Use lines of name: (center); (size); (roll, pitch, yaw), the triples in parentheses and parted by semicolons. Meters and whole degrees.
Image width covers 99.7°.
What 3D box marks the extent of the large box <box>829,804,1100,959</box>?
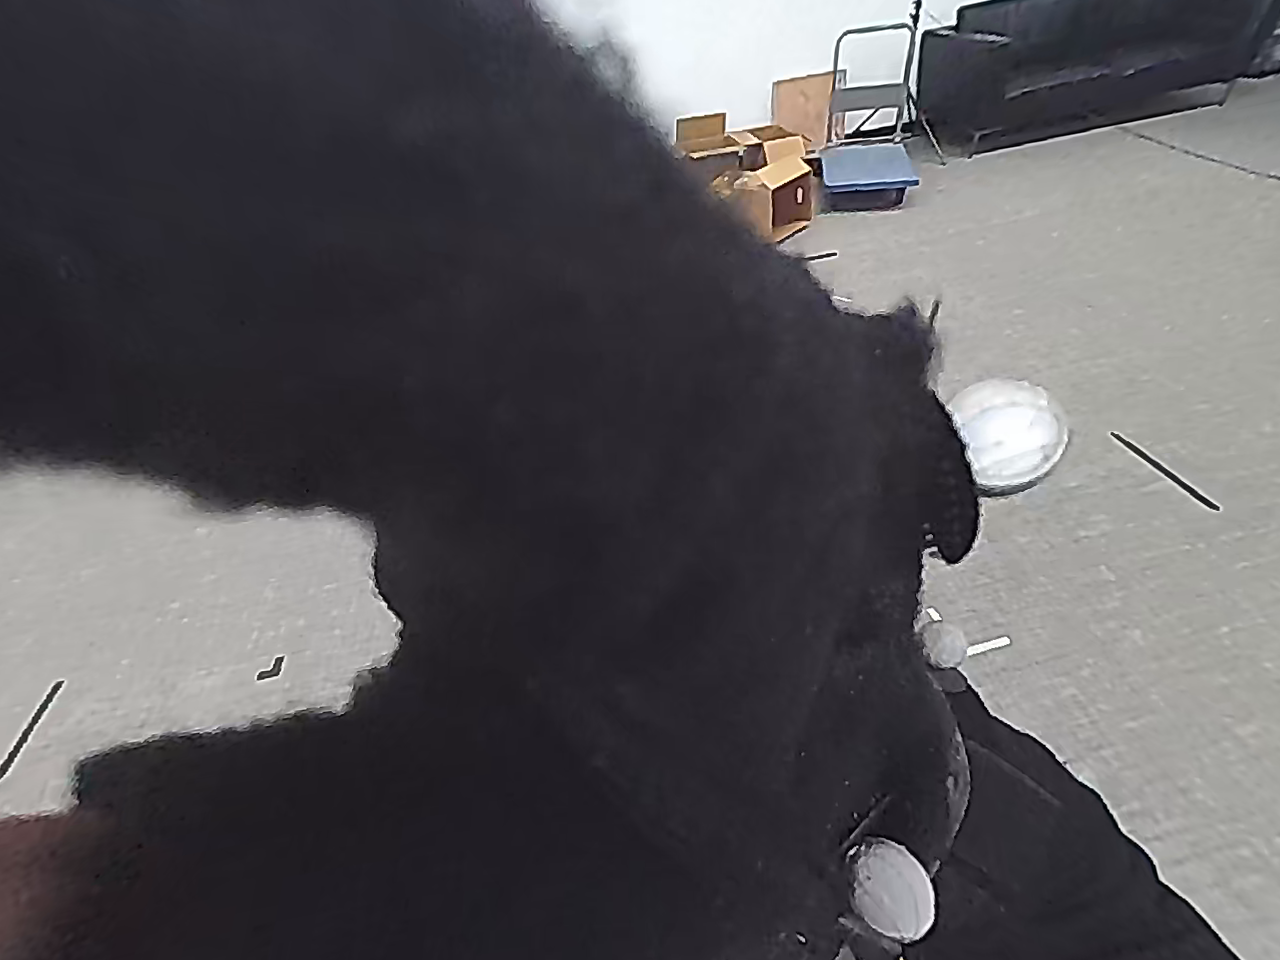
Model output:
large box: (0.568, 0.856, 0.933); (0.320, 0.320, 0.408); (-10, 43, -2)
